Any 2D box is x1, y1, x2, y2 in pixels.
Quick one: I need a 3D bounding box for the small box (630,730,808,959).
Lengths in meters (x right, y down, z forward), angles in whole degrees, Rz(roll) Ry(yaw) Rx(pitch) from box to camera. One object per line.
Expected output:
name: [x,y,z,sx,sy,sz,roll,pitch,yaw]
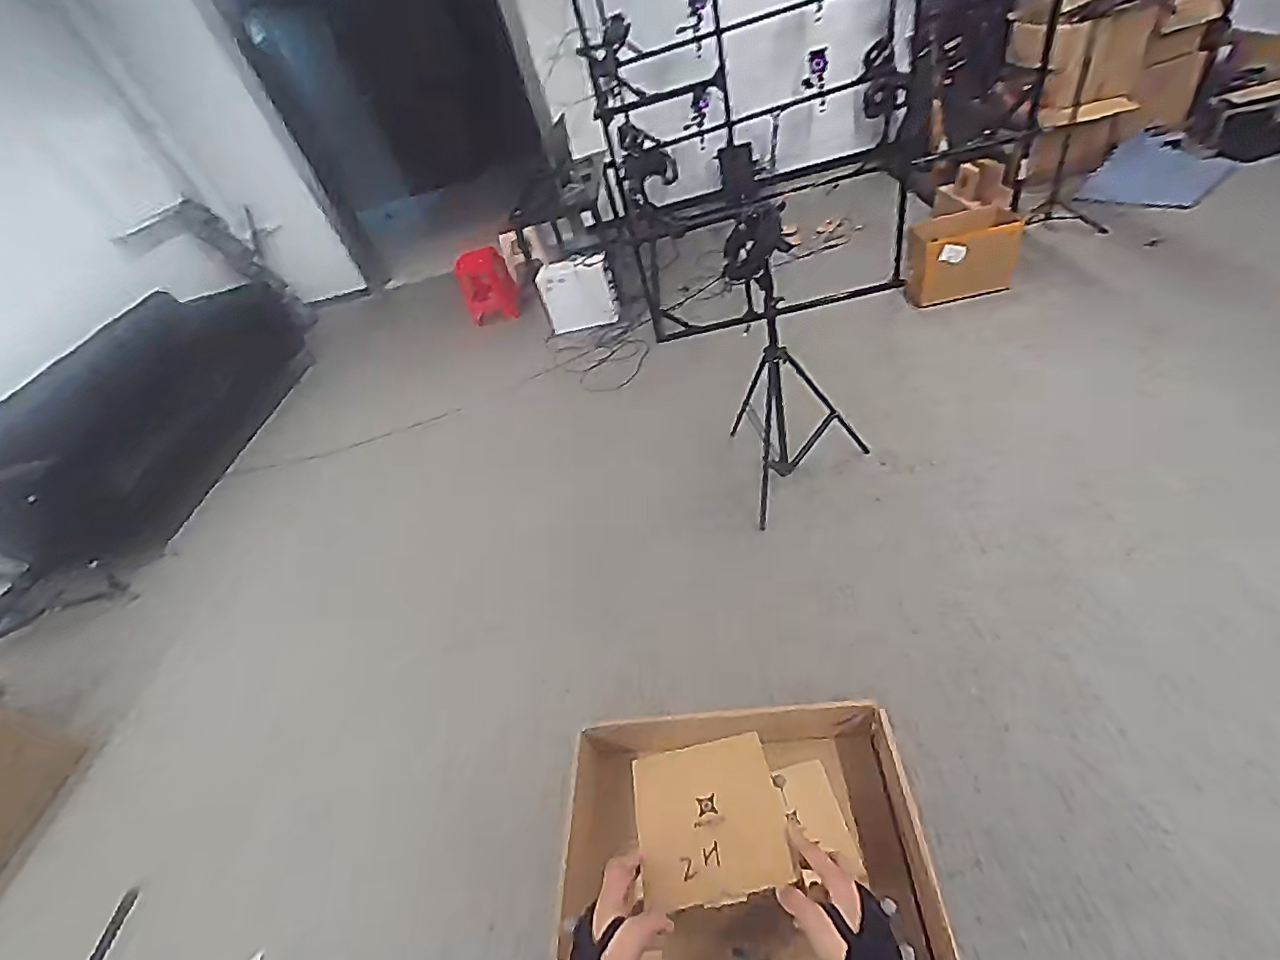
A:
small box: [0.091,0.445,0.653,0.168,0.176,0.179,-15,29,2]
